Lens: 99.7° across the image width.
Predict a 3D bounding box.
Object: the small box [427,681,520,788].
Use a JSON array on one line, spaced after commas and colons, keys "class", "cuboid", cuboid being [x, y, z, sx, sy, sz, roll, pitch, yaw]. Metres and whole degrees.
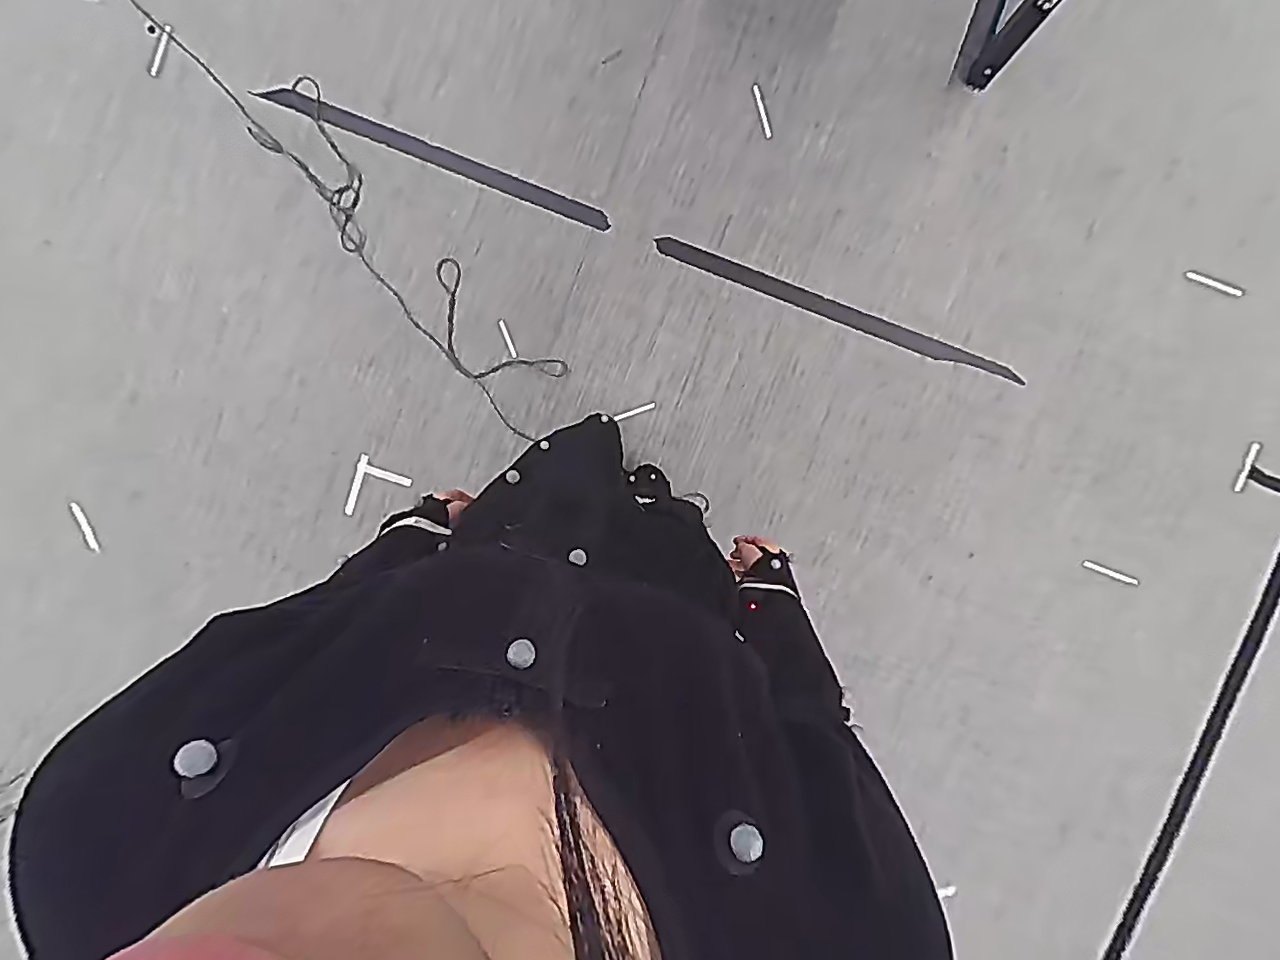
[{"class": "small box", "cuboid": [-0.429, 0.659, 1.424, 0.168, 0.176, 0.179, 18, 93, 1]}]
